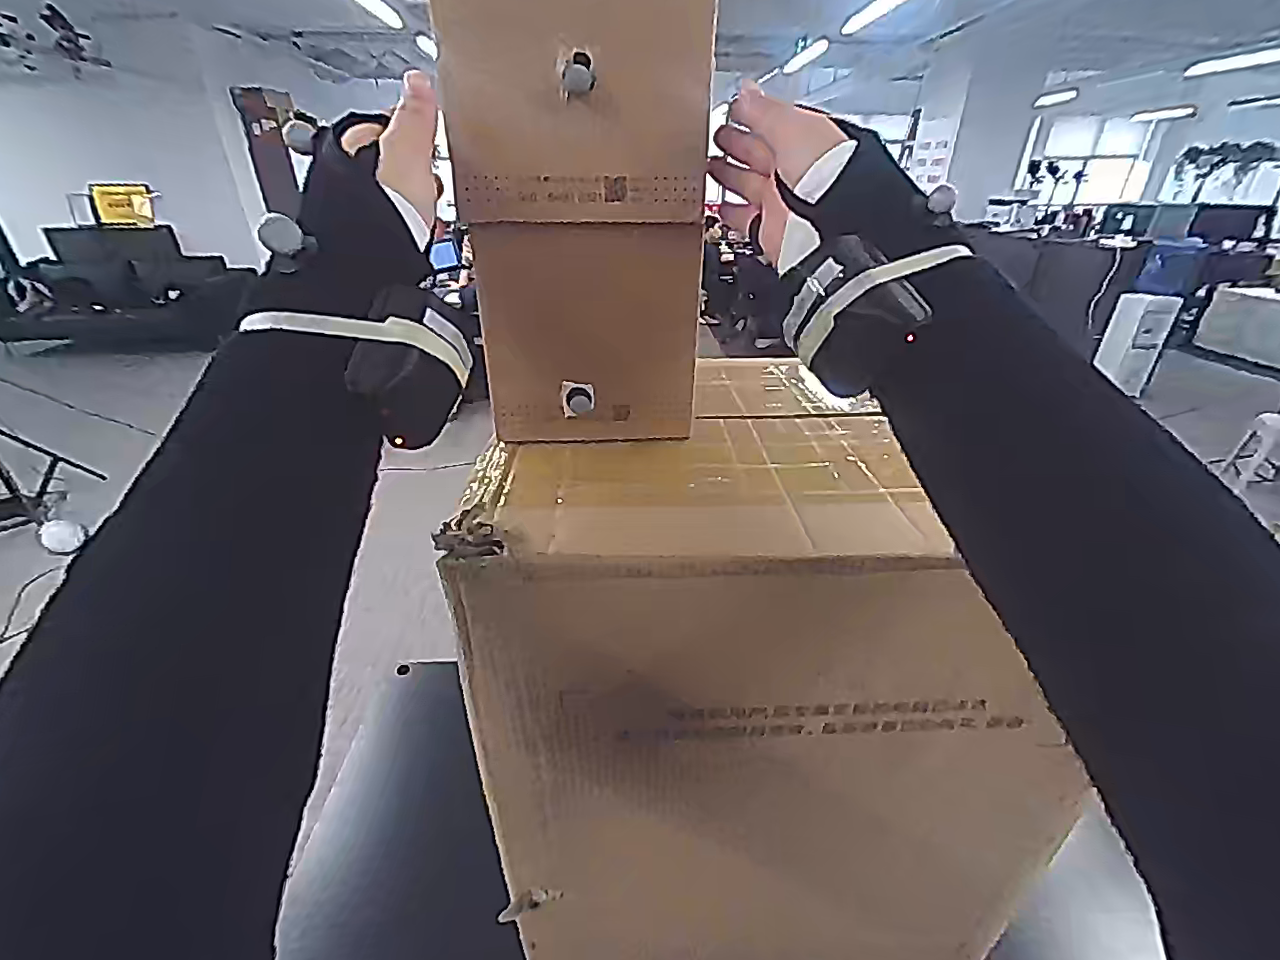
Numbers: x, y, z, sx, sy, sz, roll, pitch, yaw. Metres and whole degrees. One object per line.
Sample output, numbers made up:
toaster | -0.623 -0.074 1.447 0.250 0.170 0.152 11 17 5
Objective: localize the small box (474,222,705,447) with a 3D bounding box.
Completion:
small box | -0.043 -0.140 0.488 0.168 0.176 0.179 -4 29 -5

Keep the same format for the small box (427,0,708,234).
small box | -0.045 -0.277 0.397 0.168 0.176 0.179 -2 29 -4
